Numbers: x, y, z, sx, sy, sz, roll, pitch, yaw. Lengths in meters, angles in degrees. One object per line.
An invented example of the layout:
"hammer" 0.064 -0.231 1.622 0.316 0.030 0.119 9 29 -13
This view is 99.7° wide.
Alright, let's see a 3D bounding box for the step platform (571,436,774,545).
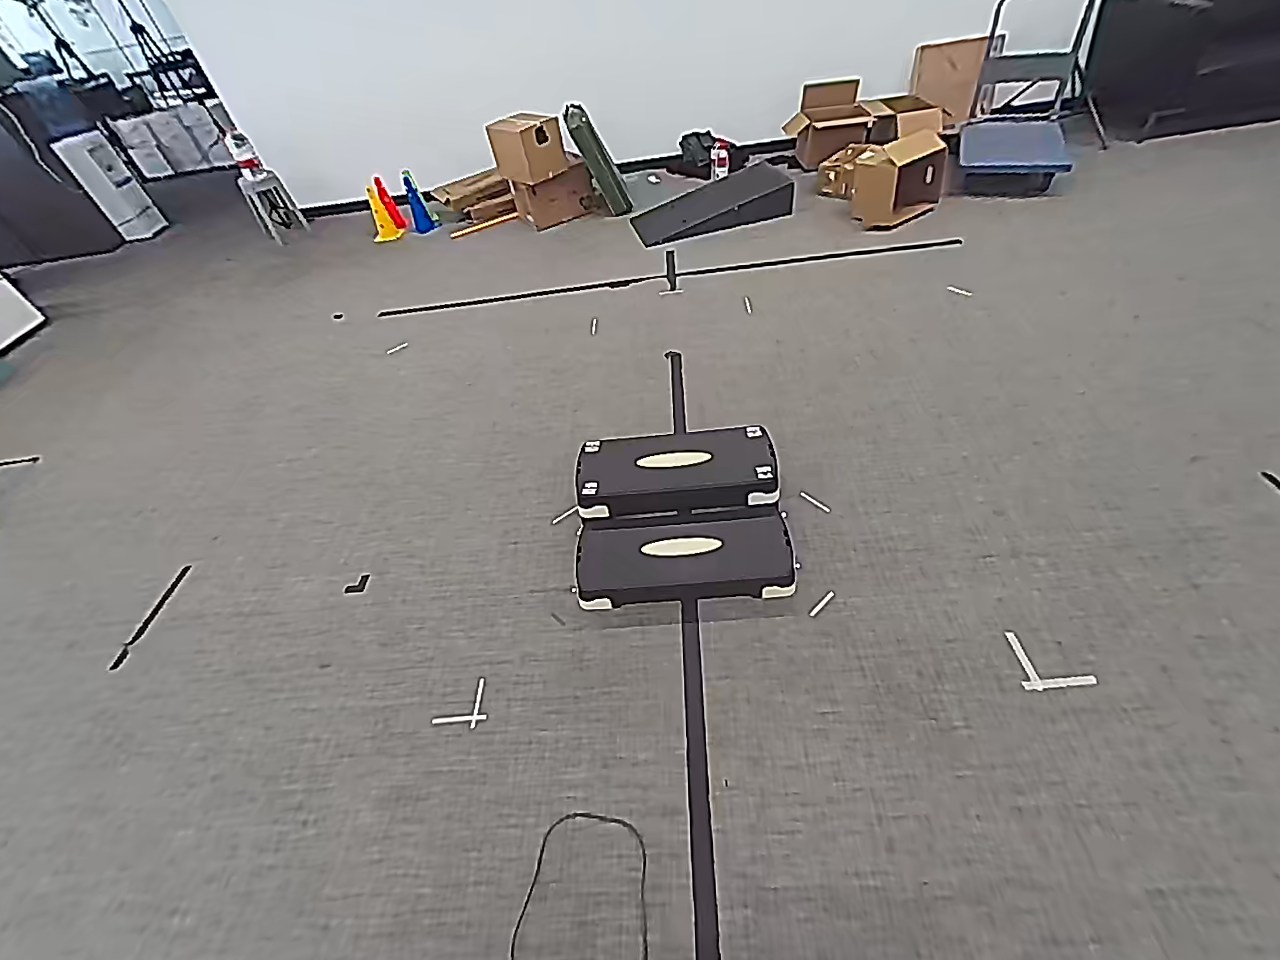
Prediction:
"step platform" 0.107 0.031 1.857 0.684 0.204 0.286 -5 46 4
